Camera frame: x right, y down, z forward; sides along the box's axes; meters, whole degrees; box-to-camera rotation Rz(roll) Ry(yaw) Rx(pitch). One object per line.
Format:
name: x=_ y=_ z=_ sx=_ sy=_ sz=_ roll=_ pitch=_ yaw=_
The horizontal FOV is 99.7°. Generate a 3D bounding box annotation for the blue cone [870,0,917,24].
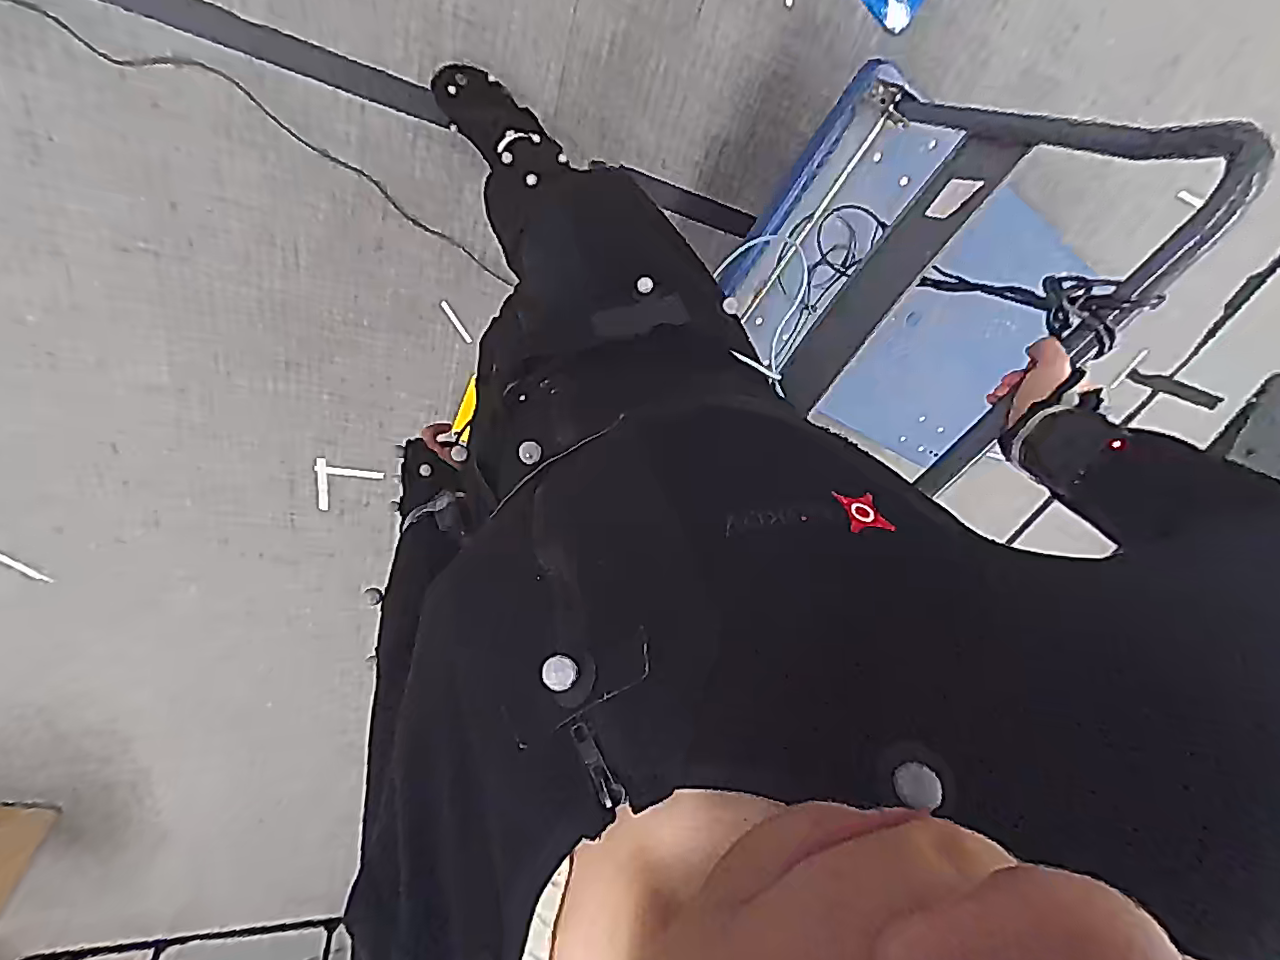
blue cone: x=0.480 y=-0.840 z=0.805 sx=0.192 sy=0.380 sz=0.193 roll=24 pitch=119 yaw=-28
